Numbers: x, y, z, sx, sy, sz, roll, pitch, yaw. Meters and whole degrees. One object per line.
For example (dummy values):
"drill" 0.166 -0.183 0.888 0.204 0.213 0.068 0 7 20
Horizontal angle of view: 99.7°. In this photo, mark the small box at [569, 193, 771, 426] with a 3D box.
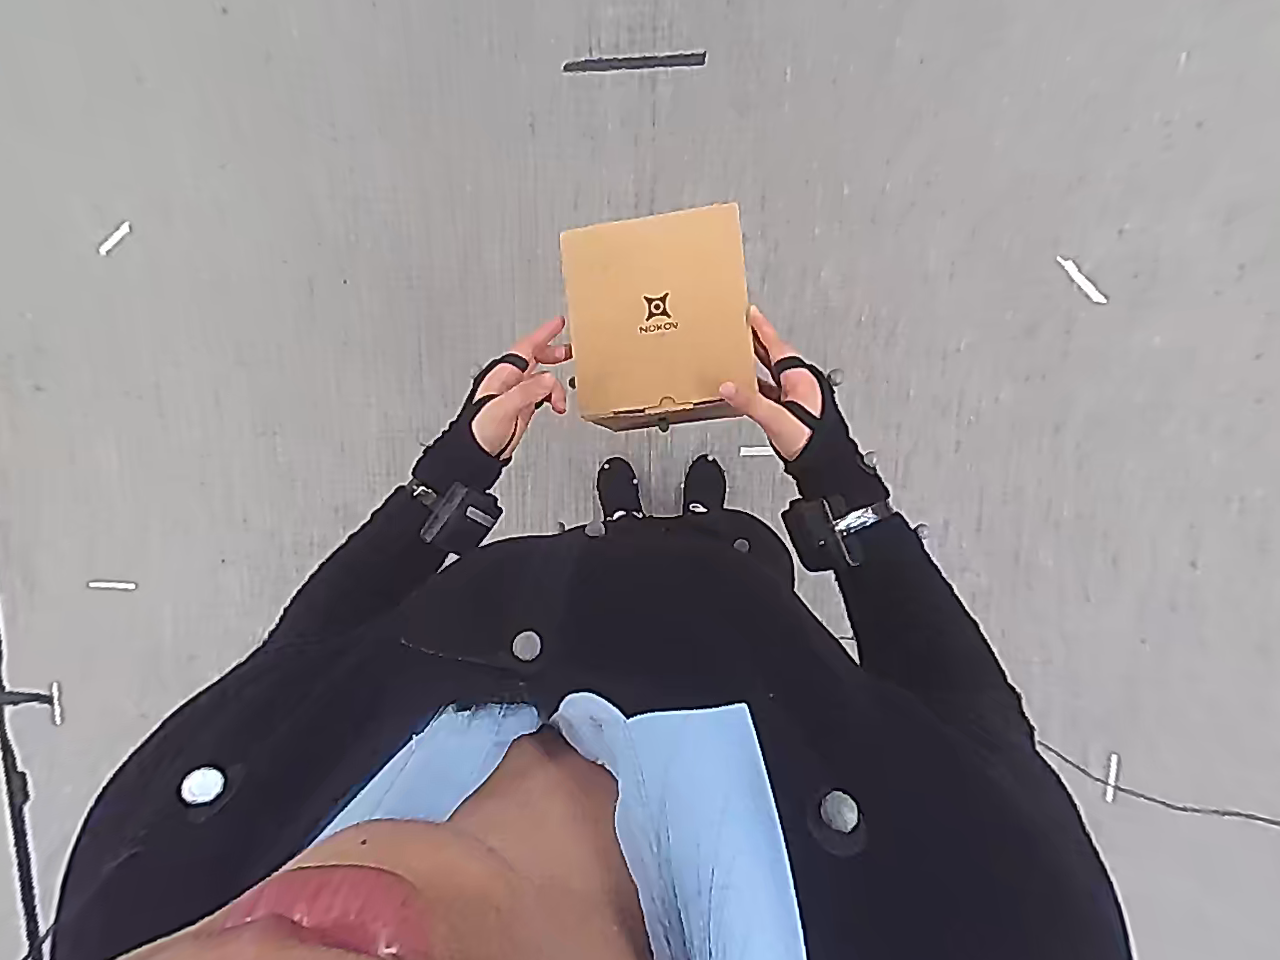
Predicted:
"small box" 0.034 -0.157 0.557 0.168 0.176 0.179 -7 92 8
